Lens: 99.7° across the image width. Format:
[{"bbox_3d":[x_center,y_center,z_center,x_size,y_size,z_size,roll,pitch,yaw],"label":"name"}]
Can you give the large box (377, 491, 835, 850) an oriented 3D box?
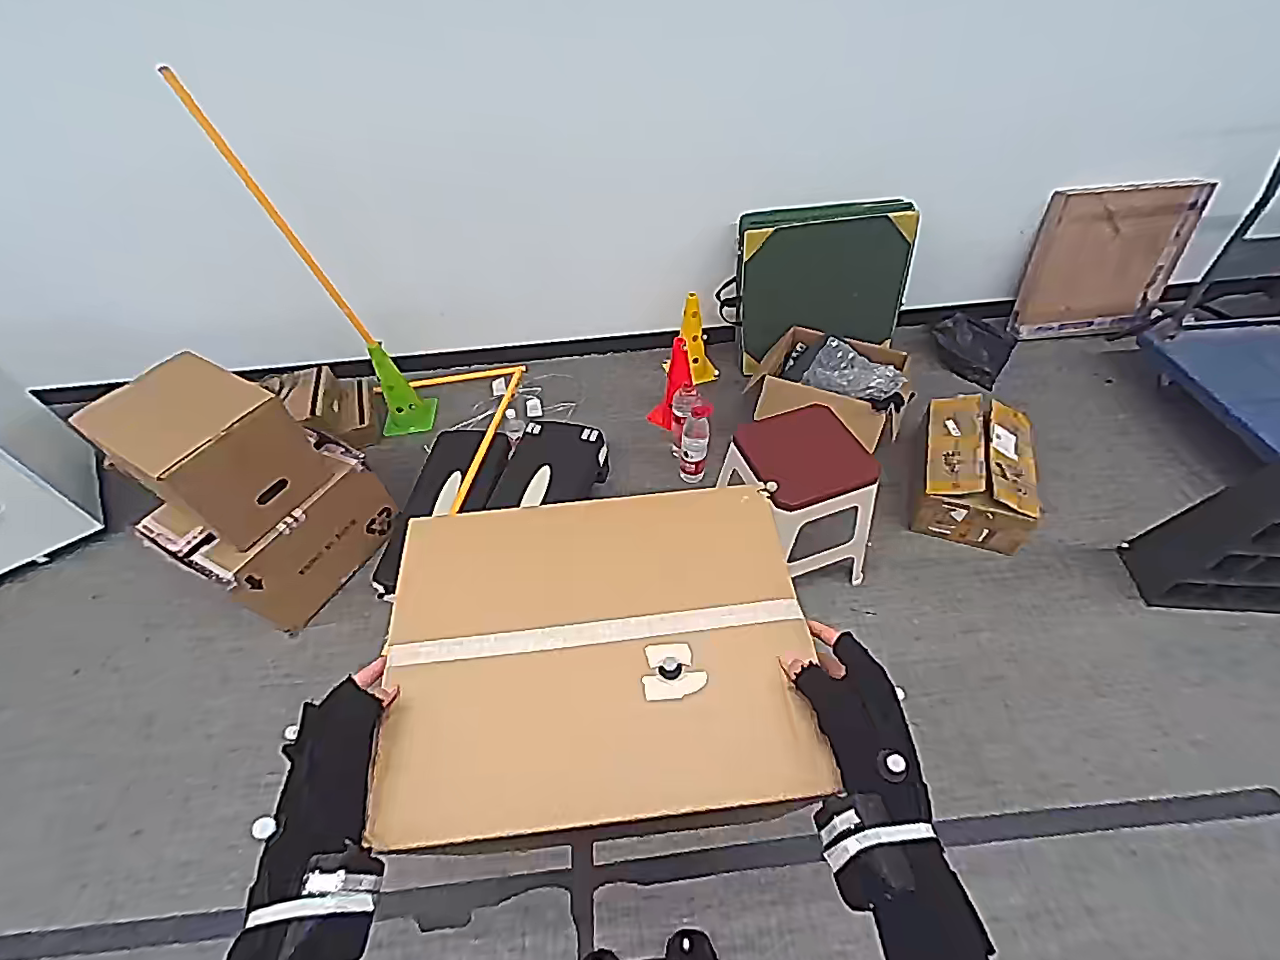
[{"bbox_3d":[-0.039,0.242,0.665,0.408,0.320,0.320,-5,55,-2],"label":"large box"}]
